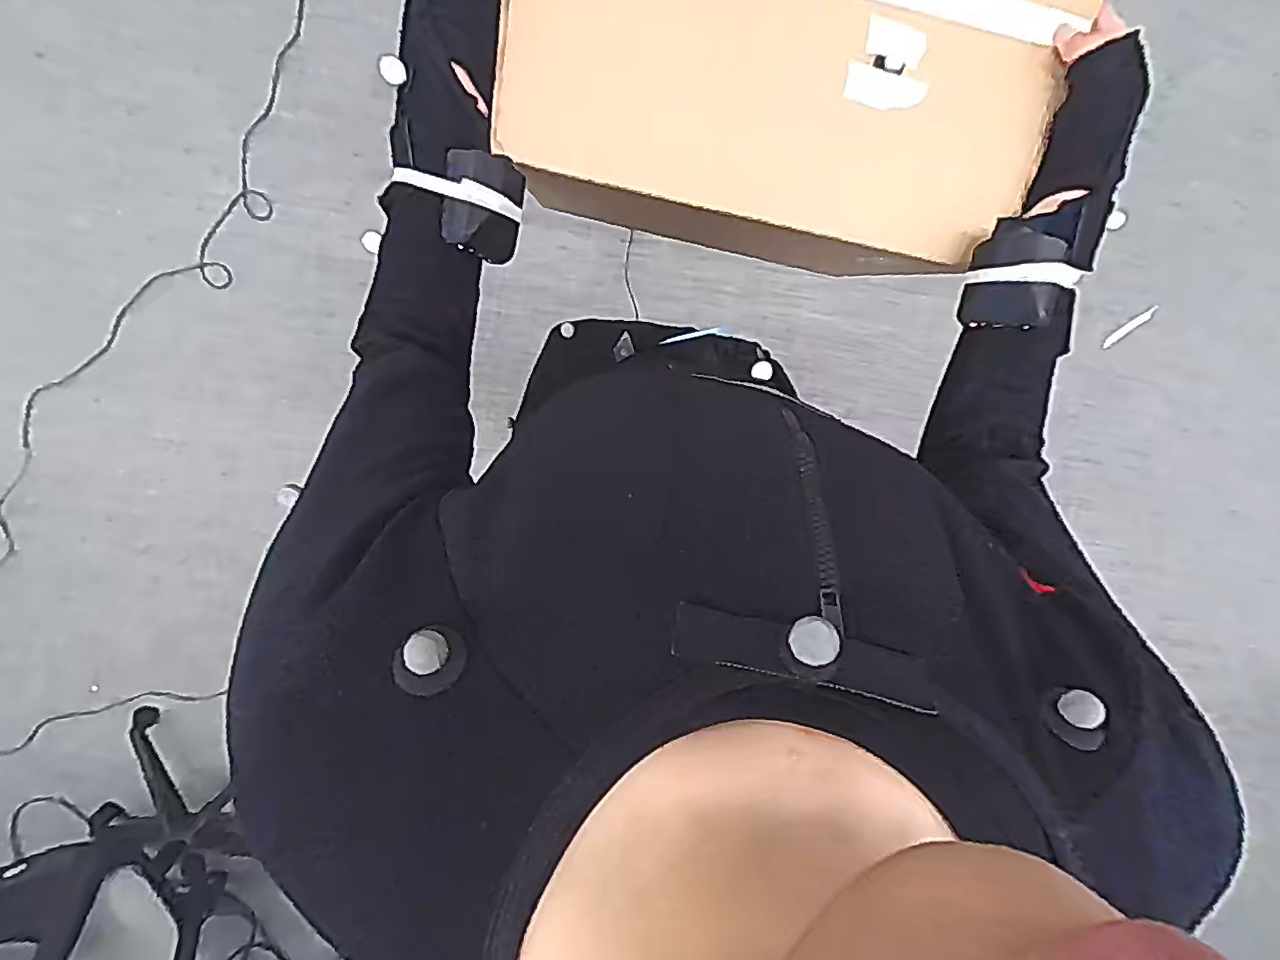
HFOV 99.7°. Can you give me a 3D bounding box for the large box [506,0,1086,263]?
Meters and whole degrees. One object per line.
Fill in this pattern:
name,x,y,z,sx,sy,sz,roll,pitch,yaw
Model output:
large box,0.109,-0.407,0.511,0.408,0.320,0.320,9,111,-8
